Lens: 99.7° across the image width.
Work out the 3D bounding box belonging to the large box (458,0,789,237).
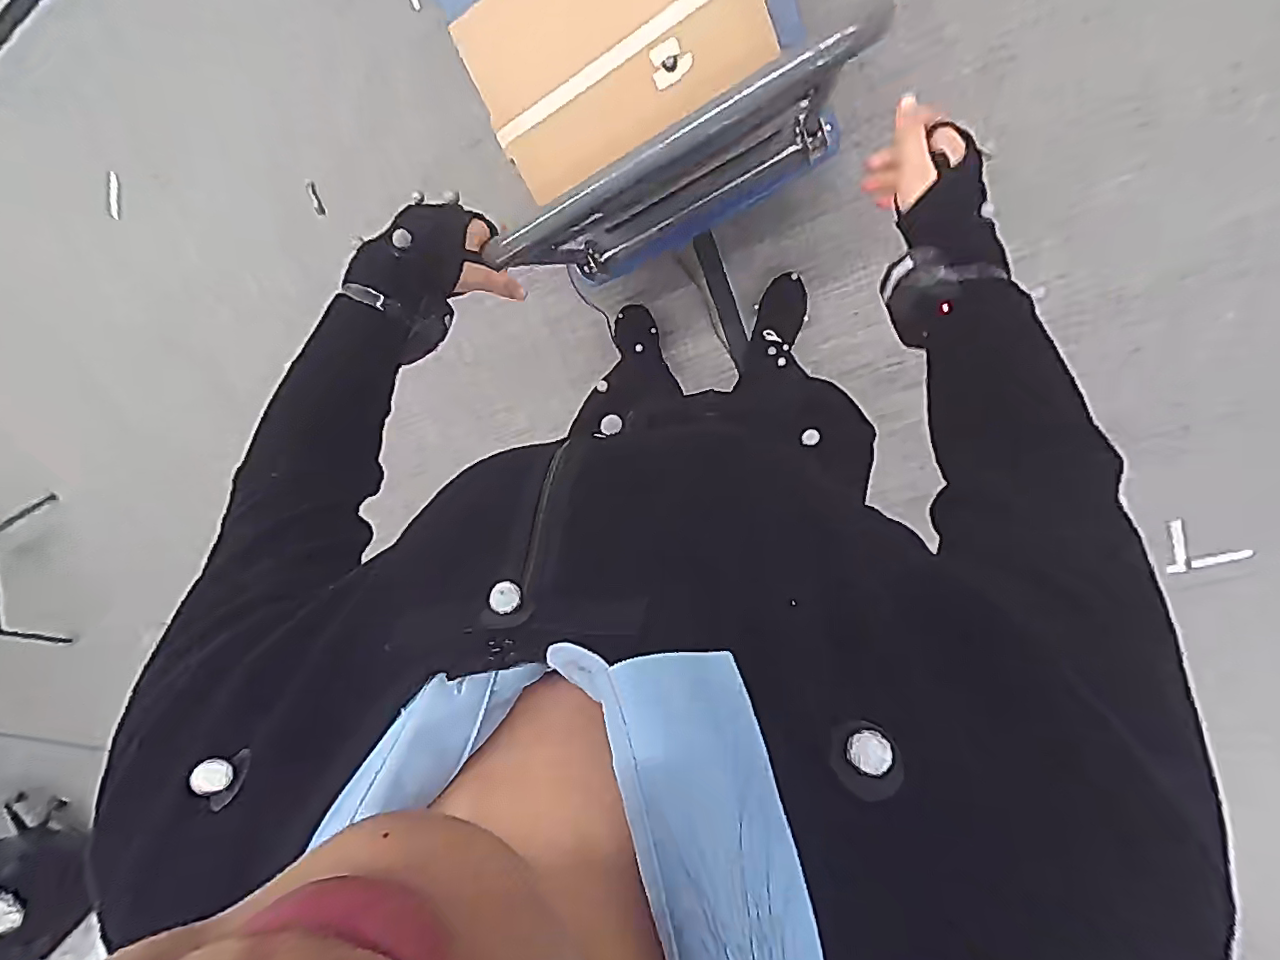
[{"bbox_3d":[-0.006,-0.652,0.904,0.408,0.320,0.320,-22,109,20],"label":"large box"}]
